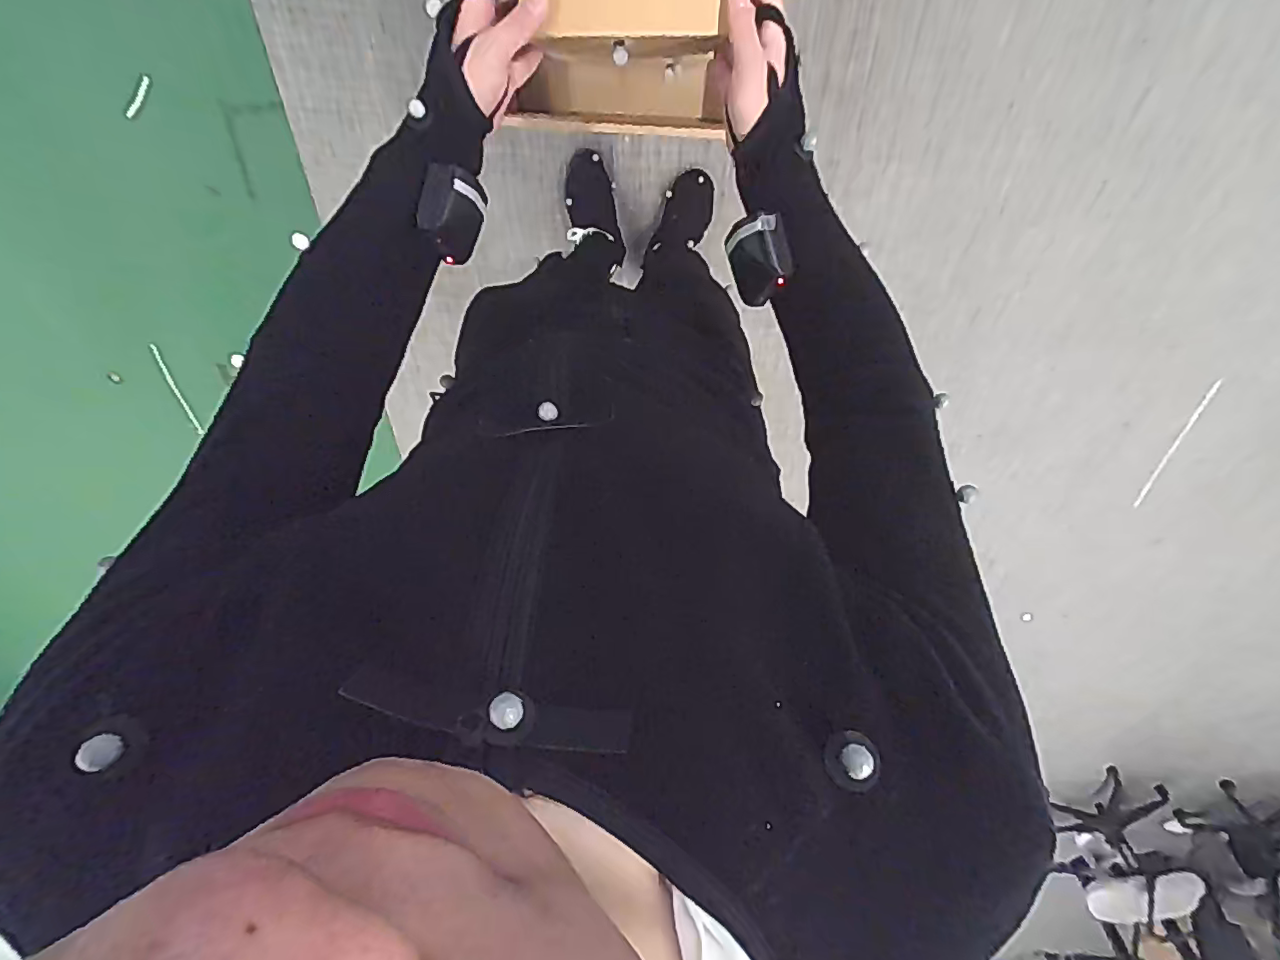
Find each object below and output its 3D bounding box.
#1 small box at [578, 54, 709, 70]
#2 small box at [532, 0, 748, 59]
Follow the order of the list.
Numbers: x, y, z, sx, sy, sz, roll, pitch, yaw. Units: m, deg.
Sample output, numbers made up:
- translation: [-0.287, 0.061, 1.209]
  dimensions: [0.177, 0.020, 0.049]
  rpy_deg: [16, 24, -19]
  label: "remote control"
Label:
- translation: [0.007, -0.669, 0.740]
  dimensions: [0.179, 0.176, 0.168]
  rpy_deg: [2, 126, 0]
  label: "small box"
- translation: [0.000, -0.474, 0.466]
  dimensions: [0.179, 0.176, 0.168]
  rpy_deg: [1, 124, 1]
  label: "small box"
